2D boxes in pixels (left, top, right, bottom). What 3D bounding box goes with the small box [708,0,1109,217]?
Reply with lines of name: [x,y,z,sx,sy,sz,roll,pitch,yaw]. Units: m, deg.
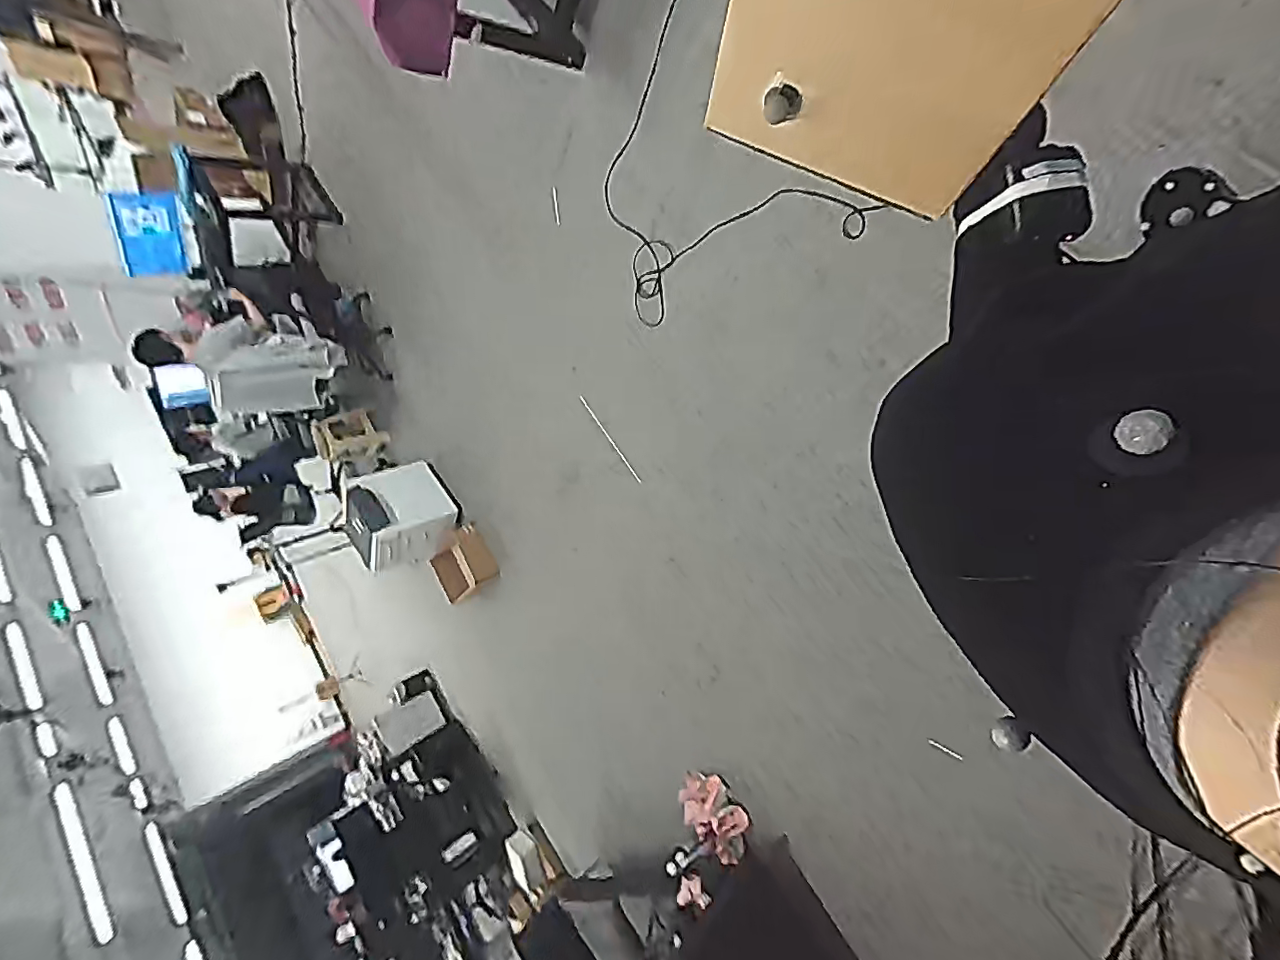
small box: [0.161,-0.306,0.321,0.179,0.168,0.176,23,165,3]
